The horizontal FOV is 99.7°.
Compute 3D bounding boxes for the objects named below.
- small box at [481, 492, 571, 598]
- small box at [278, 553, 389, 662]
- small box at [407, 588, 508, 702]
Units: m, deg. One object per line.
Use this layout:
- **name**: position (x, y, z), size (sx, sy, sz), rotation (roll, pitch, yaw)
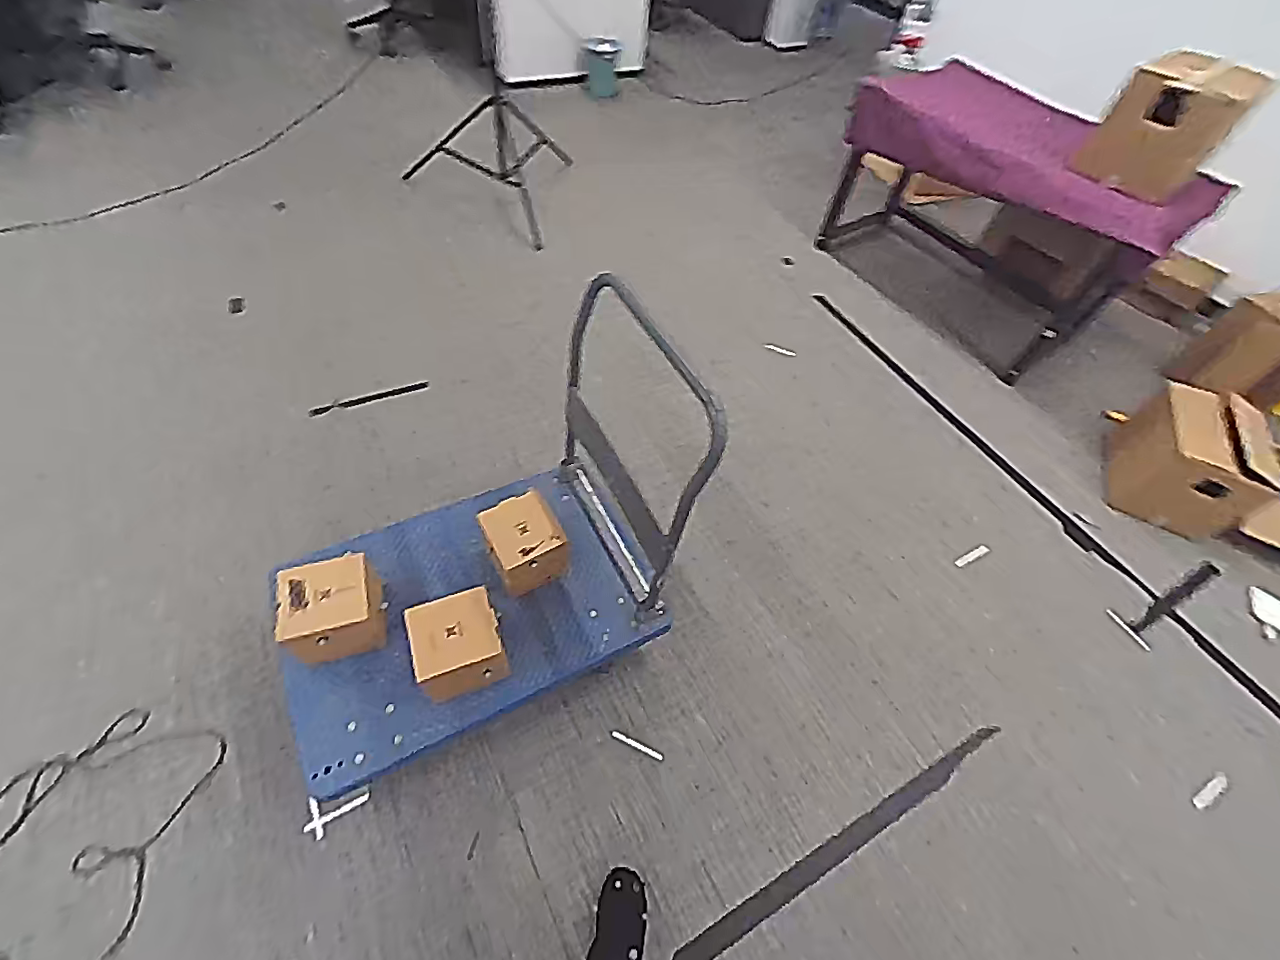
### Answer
- **small box**: position (-0.288, 0.167, 1.376), size (0.168, 0.176, 0.179), rotation (-24, 60, -22)
- **small box**: position (-0.689, 0.293, 1.227), size (0.179, 0.176, 0.168), rotation (-11, 57, -17)
- **small box**: position (-0.402, 0.372, 1.213), size (0.179, 0.176, 0.168), rotation (-16, 56, -17)
